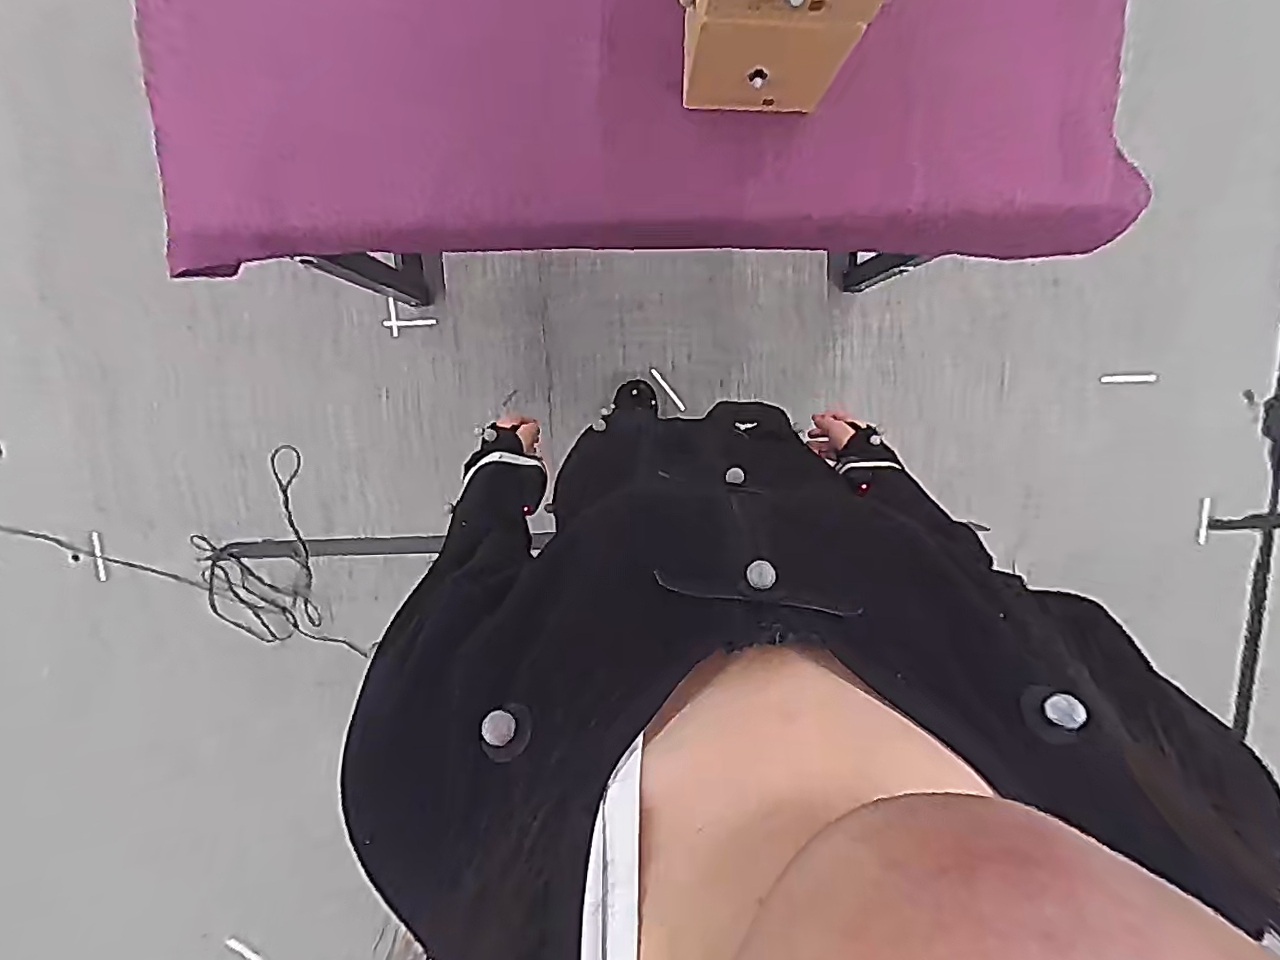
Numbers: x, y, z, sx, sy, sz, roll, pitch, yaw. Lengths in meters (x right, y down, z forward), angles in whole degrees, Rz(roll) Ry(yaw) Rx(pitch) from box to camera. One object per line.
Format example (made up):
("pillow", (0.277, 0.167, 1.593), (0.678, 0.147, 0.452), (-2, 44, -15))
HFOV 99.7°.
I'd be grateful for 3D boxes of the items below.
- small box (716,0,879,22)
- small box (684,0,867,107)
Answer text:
("small box", (0.148, -0.519, 0.428), (0.168, 0.176, 0.179), (0, 100, -2))
("small box", (0.140, -0.542, 0.591), (0.168, 0.176, 0.179), (1, 99, -2))
